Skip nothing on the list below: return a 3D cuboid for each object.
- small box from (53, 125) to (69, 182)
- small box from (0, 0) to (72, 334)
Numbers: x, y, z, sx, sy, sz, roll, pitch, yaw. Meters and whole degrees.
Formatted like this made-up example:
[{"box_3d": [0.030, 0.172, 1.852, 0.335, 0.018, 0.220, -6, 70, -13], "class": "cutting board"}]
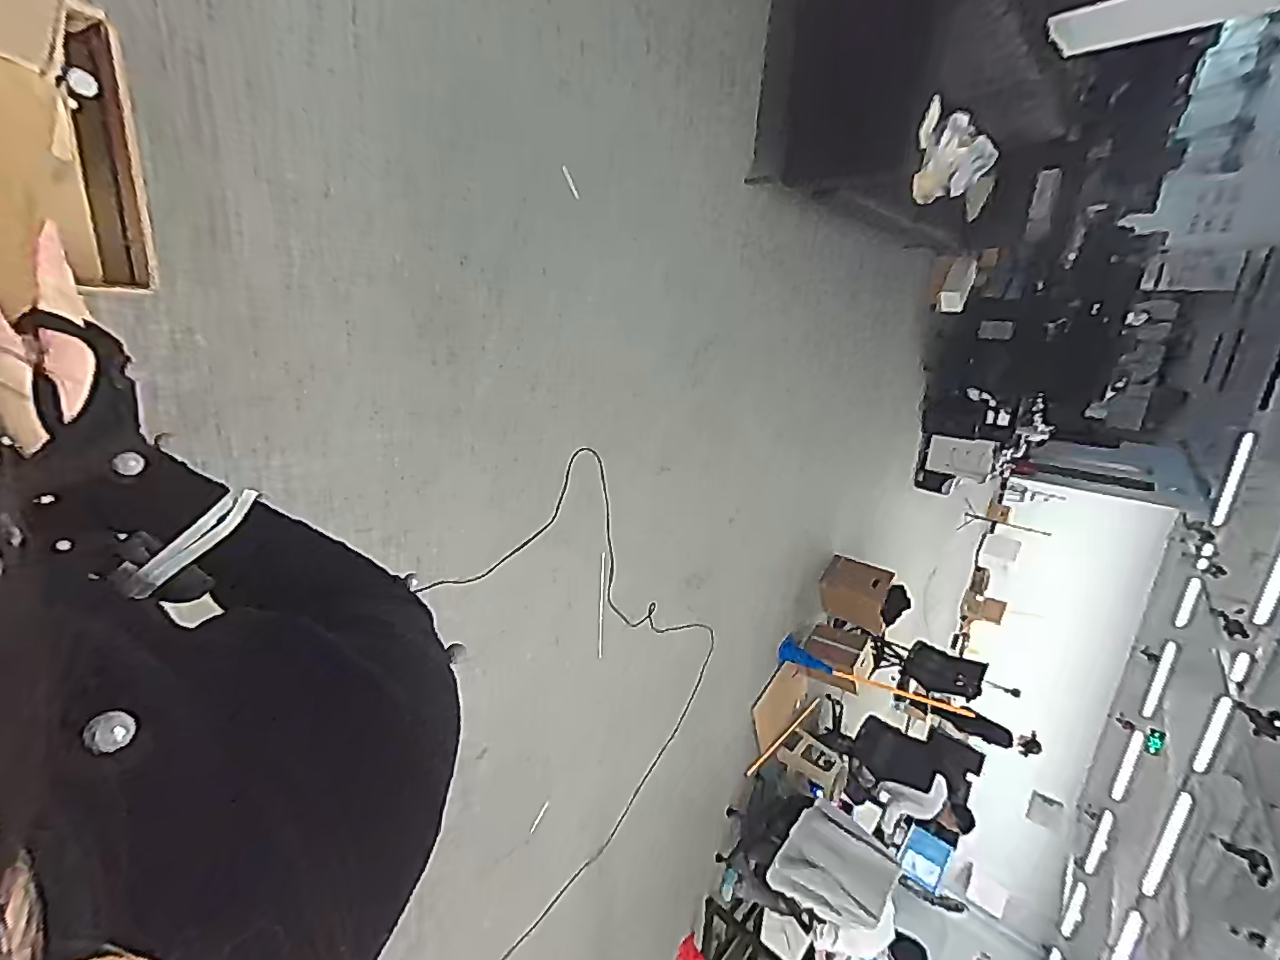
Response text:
[{"box_3d": [-0.938, -0.536, 0.759, 0.168, 0.176, 0.179, -14, 114, -46], "class": "small box"}, {"box_3d": [-0.396, -0.207, 0.254, 0.168, 0.179, 0.176, 6, 55, -48], "class": "small box"}]
